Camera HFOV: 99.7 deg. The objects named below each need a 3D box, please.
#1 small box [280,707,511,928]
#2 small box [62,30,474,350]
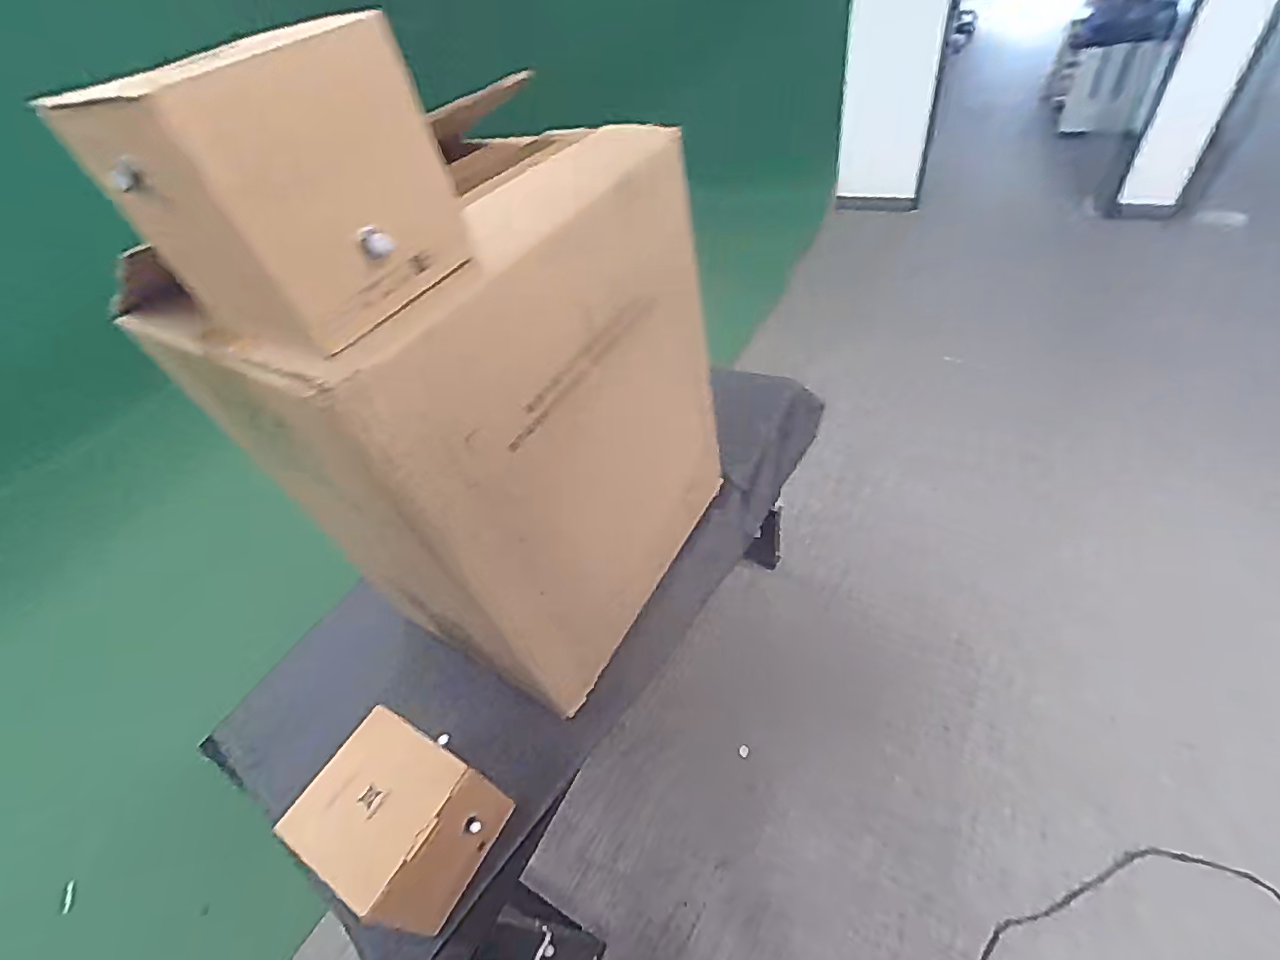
[{"bbox_3d":[-0.297,0.433,0.695,0.179,0.176,0.168,14,49,28],"label":"small box"},{"bbox_3d":[-0.270,-0.224,0.430,0.179,0.176,0.168,18,55,28],"label":"small box"}]
